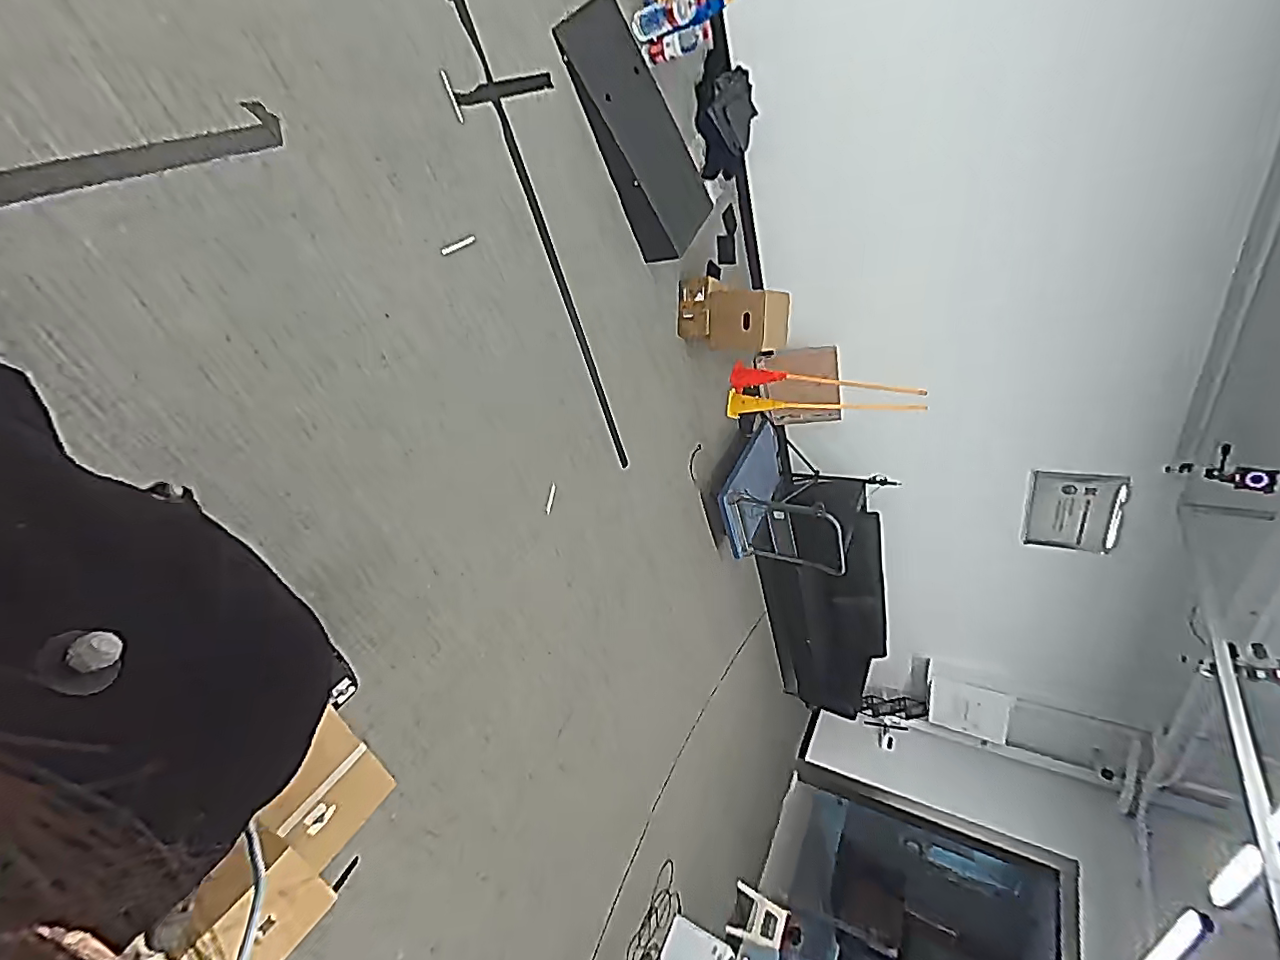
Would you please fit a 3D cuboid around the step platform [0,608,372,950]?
[{"bbox_3d":[-0.976,0.617,1.224,0.684,0.204,0.286,-46,131,-44],"label":"step platform"}]

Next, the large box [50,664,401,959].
[{"bbox_3d":[-0.789,0.654,1.078,0.408,0.320,0.320,-49,134,-43],"label":"large box"}]

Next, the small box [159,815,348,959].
[{"bbox_3d":[-0.630,0.699,0.879,0.179,0.176,0.168,-45,130,-45],"label":"small box"}]
